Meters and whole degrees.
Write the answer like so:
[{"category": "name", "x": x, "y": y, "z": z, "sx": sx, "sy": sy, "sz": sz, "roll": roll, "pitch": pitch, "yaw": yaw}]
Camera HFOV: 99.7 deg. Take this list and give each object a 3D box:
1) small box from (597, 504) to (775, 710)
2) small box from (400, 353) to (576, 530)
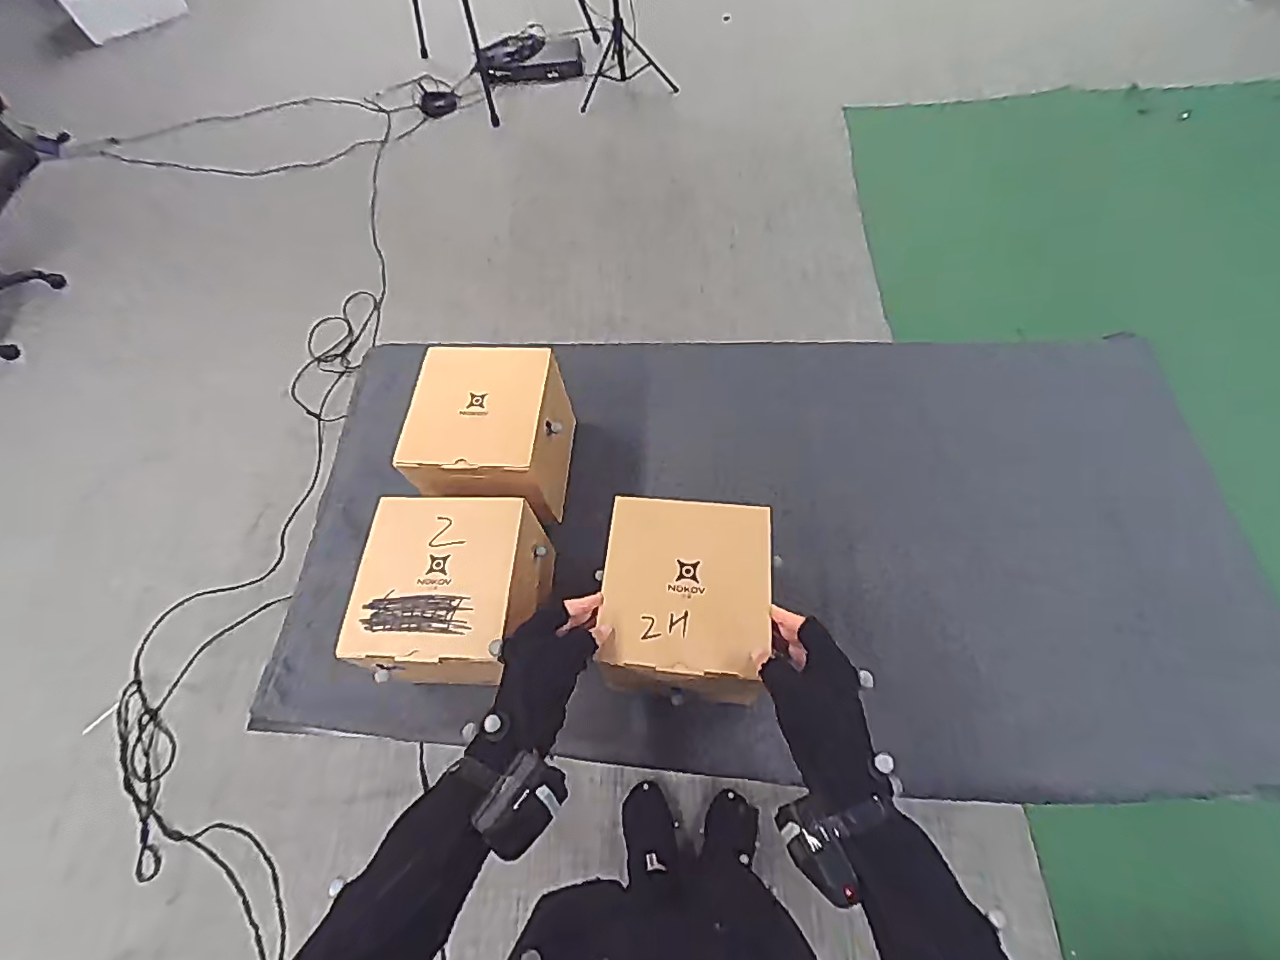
[{"category": "small box", "x": 0.054, "y": 0.145, "z": 0.602, "sx": 0.168, "sy": 0.176, "sz": 0.179, "roll": 4, "pitch": 62, "yaw": 7}, {"category": "small box", "x": -0.187, "y": -0.048, "z": 0.727, "sx": 0.168, "sy": 0.176, "sz": 0.179, "roll": 2, "pitch": 64, "yaw": 6}]
